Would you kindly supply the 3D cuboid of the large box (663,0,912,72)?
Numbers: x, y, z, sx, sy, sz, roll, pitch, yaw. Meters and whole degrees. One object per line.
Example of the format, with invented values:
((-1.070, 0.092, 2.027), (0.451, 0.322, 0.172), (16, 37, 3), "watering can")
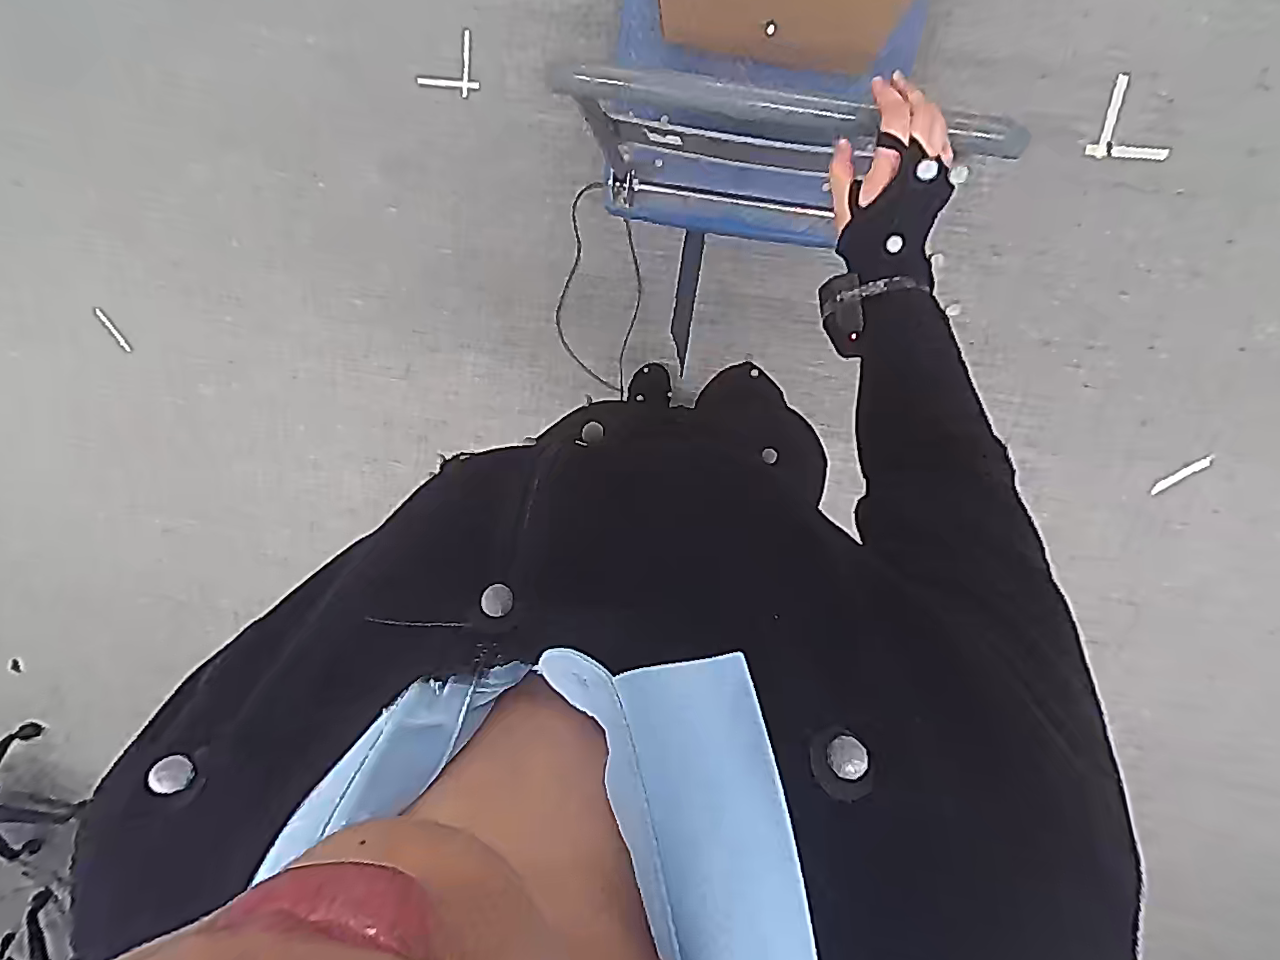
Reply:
((0.261, -0.943, 0.899), (0.408, 0.320, 0.320), (12, 106, 3), "large box")
